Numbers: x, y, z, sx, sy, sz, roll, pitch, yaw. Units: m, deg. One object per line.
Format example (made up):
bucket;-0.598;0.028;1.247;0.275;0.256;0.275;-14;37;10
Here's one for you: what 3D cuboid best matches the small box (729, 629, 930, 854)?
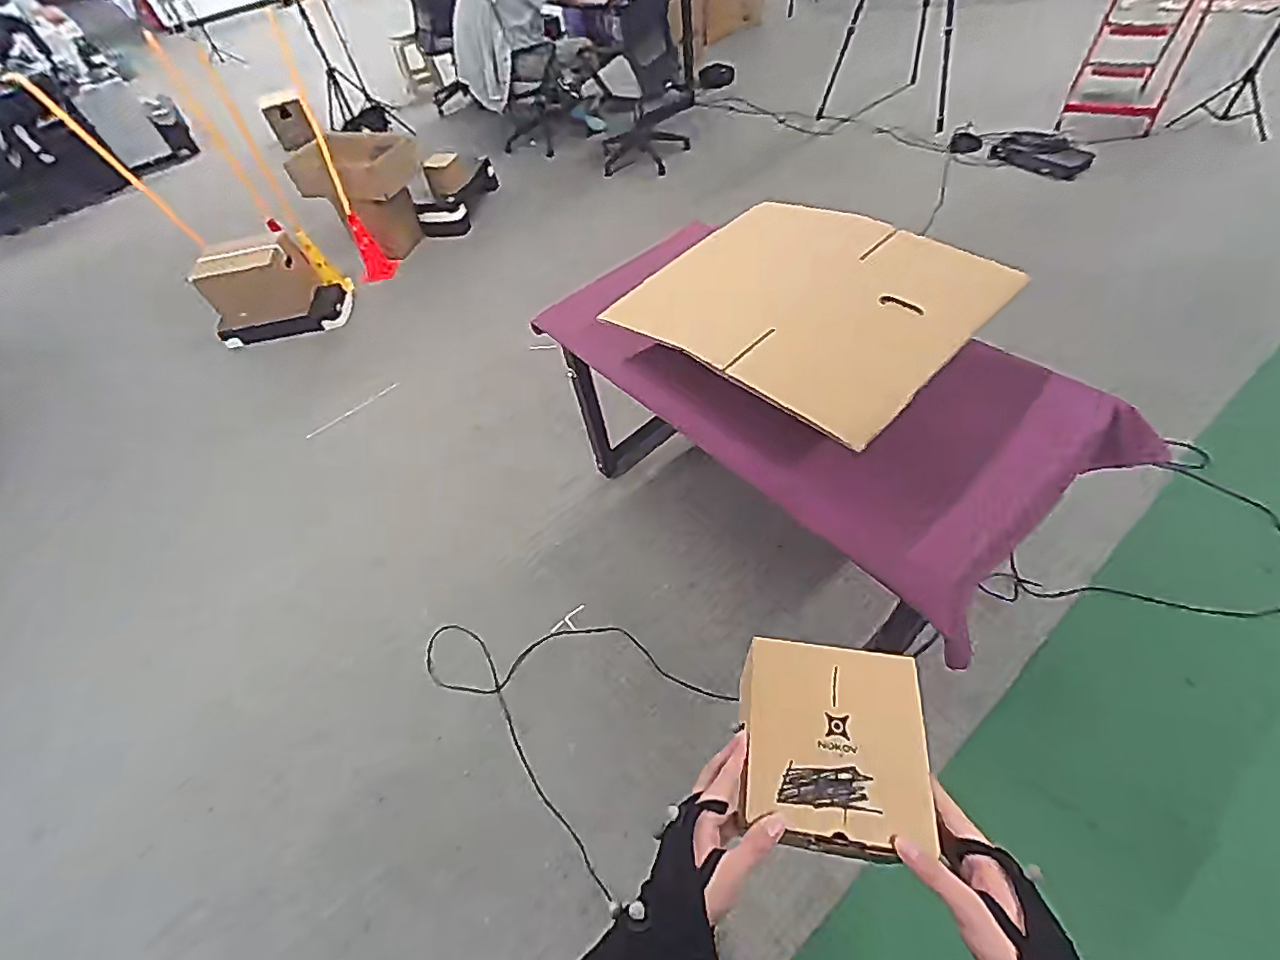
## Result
small box;0.186;0.282;0.578;0.168;0.176;0.179;5;55;9
